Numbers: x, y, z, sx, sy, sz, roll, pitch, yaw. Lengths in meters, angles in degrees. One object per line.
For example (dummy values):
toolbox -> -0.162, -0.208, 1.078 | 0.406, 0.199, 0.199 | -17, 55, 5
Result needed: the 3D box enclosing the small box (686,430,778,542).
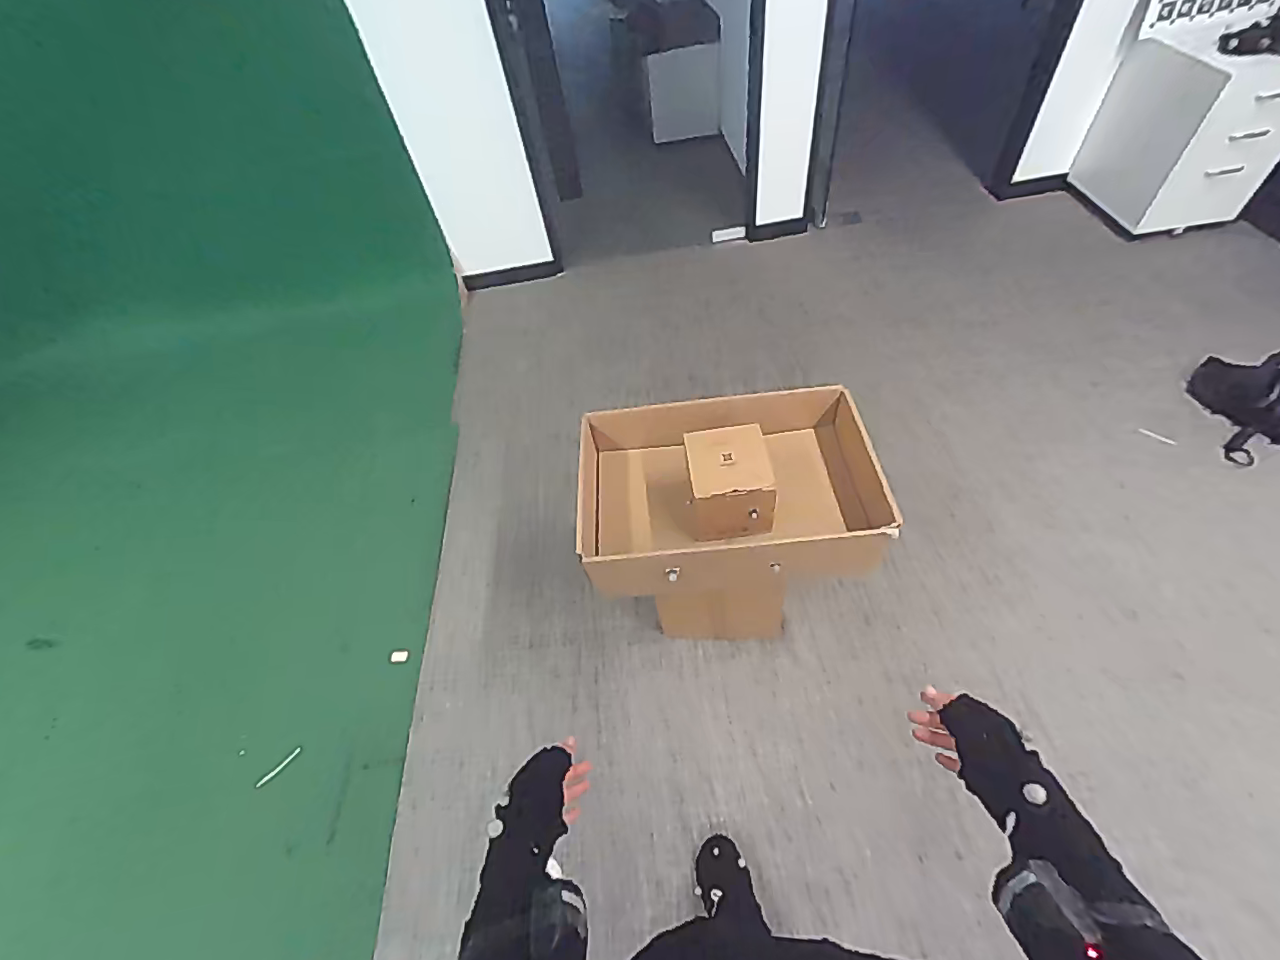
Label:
small box -> 0.194, 0.020, 1.171 | 0.168, 0.176, 0.179 | -8, 50, 2
